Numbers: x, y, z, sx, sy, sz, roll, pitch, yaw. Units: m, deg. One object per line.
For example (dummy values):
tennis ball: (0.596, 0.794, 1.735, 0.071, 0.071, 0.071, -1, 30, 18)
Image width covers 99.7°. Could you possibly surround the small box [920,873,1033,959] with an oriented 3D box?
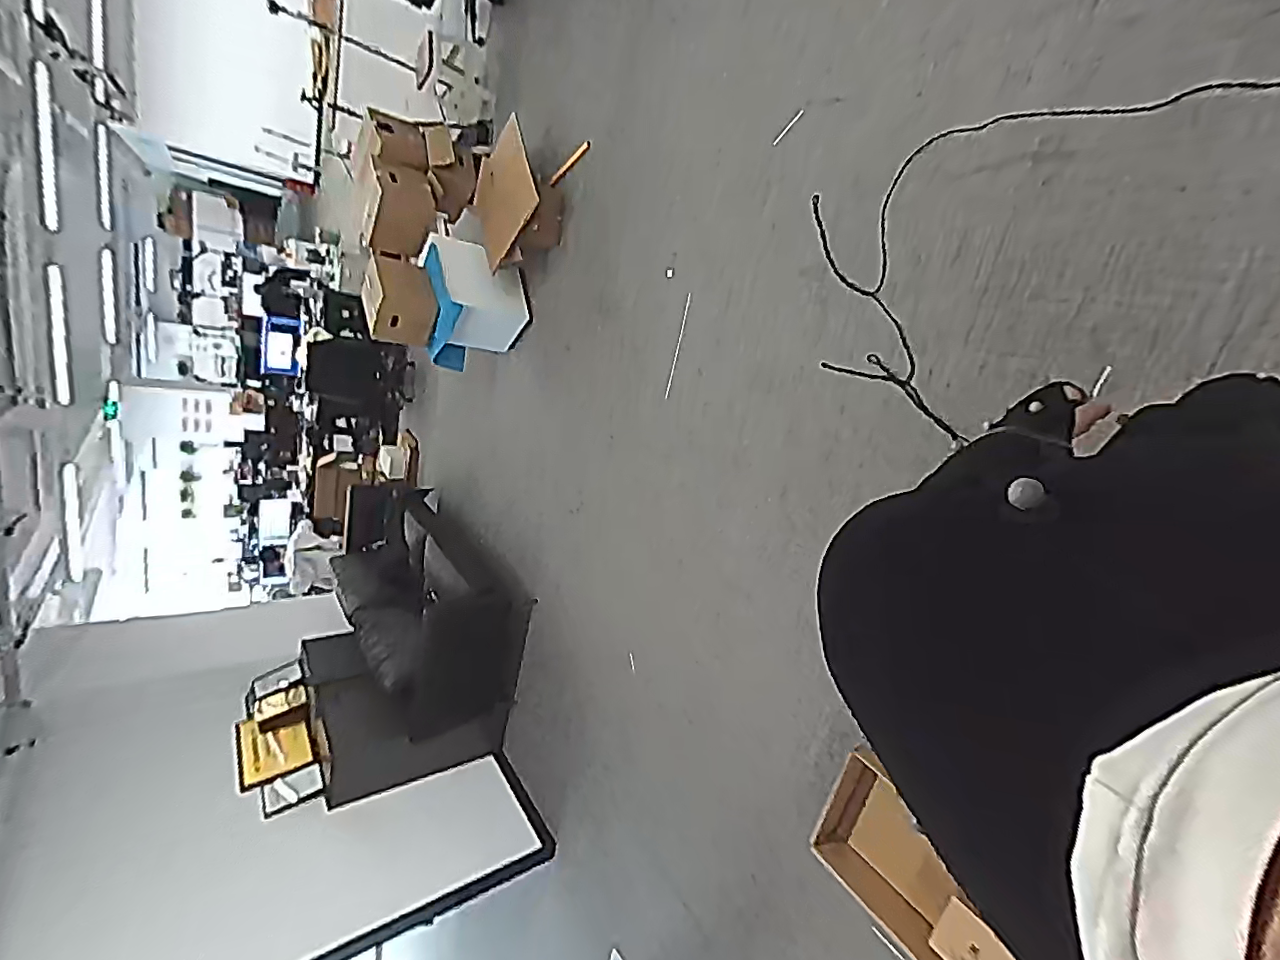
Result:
small box: (0.855, 1.154, 1.368, 0.168, 0.176, 0.179, 33, 115, 47)
